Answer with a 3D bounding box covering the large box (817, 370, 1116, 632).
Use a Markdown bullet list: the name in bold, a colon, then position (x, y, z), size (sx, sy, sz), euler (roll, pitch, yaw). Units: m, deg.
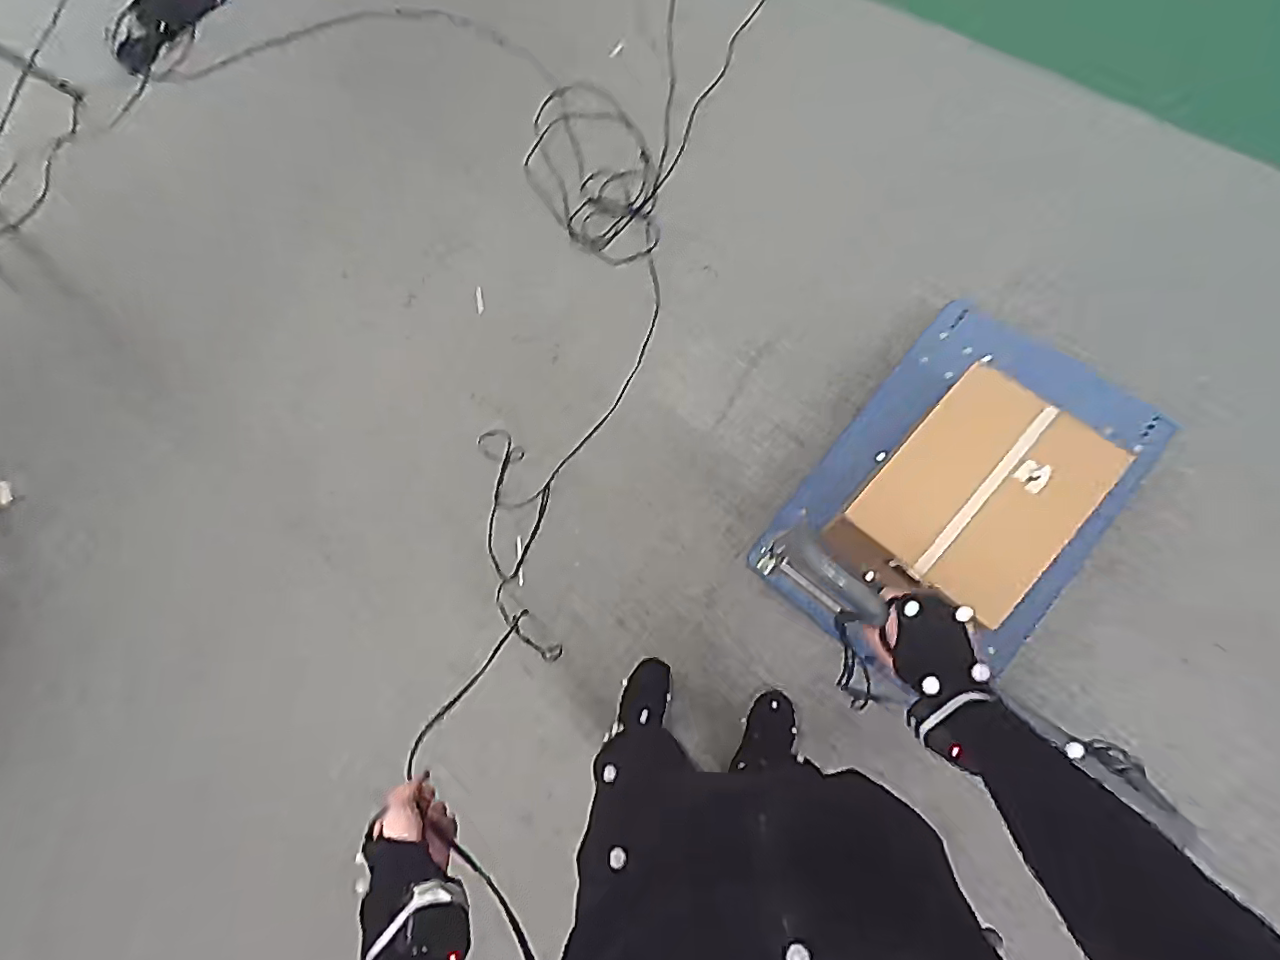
- **large box**: position (0.634, 0.064, 1.128), size (0.320, 0.320, 0.408), euler (40, 84, 15)
